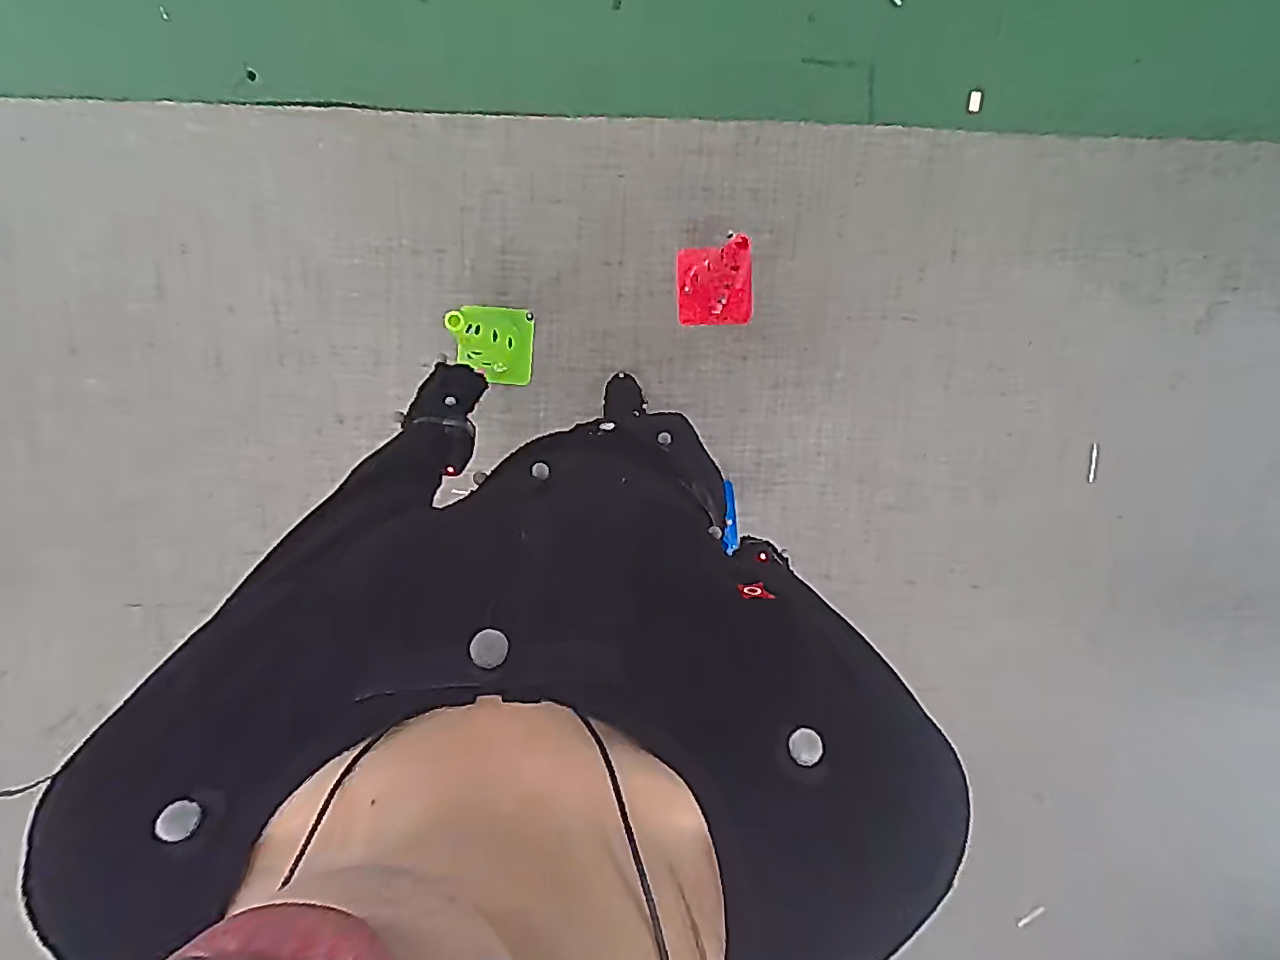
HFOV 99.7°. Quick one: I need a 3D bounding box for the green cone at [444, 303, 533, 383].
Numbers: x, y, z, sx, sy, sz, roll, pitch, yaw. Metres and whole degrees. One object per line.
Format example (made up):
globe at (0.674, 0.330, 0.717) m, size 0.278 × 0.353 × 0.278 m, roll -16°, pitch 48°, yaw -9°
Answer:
green cone at (-0.387, -0.345, 1.277) m, size 0.200 × 0.368 × 0.202 m, roll 4°, pitch 97°, yaw -1°
